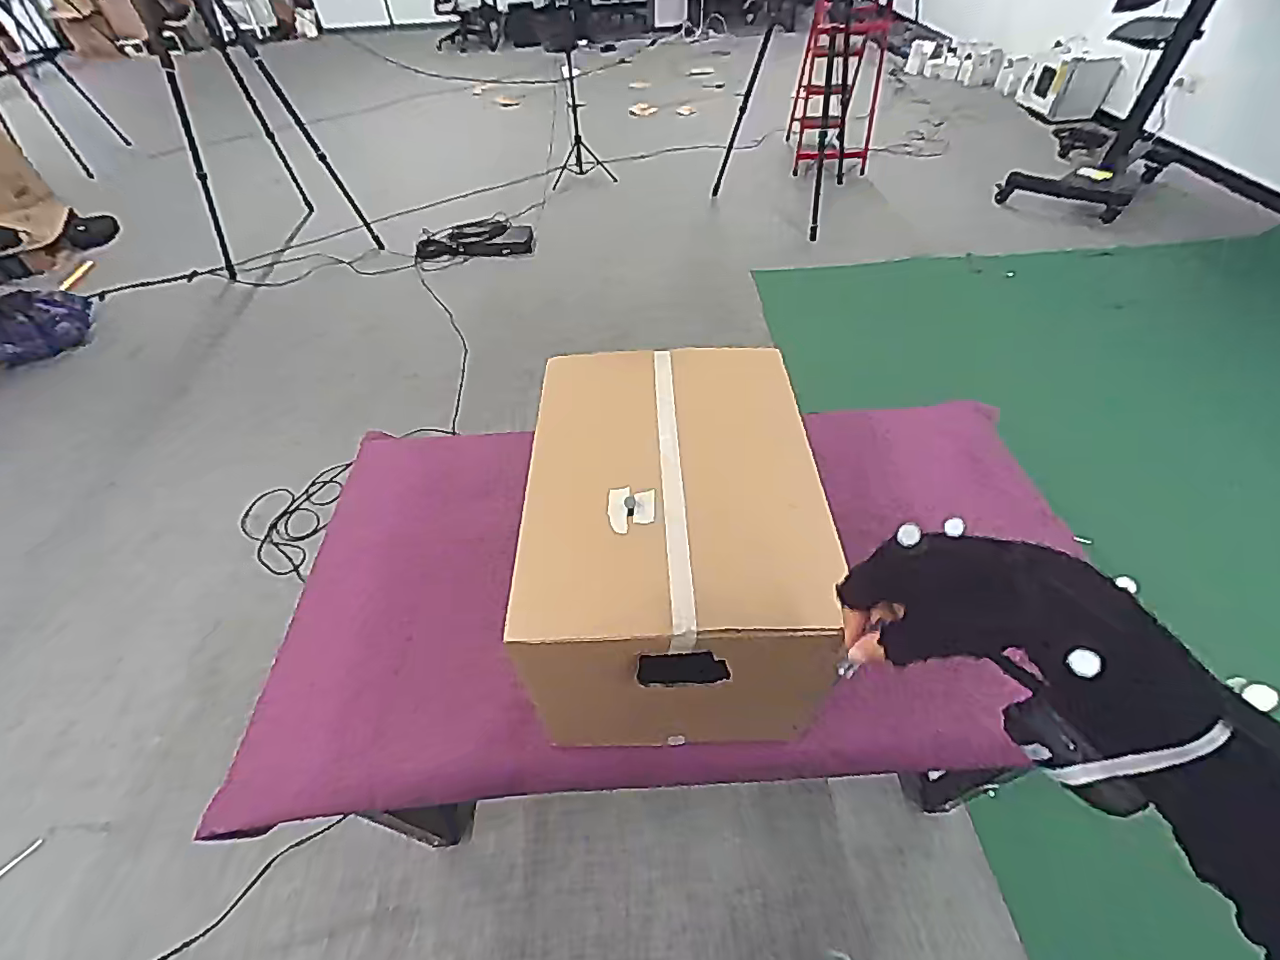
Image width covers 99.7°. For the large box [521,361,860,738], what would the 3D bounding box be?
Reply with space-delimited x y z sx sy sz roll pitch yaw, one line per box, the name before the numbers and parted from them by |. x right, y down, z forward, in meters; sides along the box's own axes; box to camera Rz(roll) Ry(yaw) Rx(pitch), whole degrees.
large box | 0.042 0.088 0.721 0.320 0.320 0.408 -2 50 1
